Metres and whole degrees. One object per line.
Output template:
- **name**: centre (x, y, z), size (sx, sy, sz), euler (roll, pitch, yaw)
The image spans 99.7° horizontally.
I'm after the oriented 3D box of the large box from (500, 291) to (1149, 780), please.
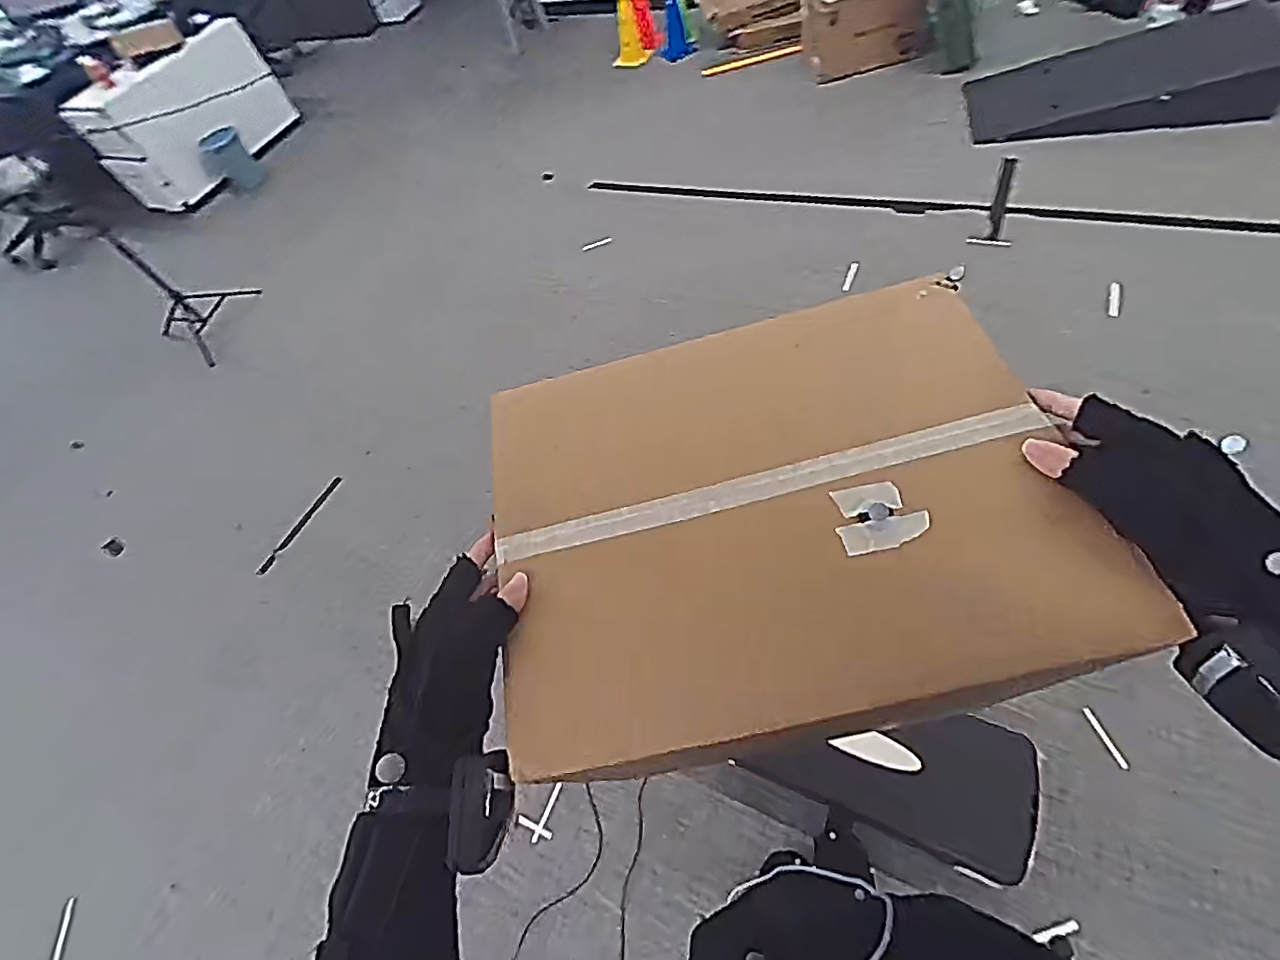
- **large box**: centre (0.116, 0.083, 0.539), size (0.408, 0.320, 0.320), euler (-15, 60, 3)
